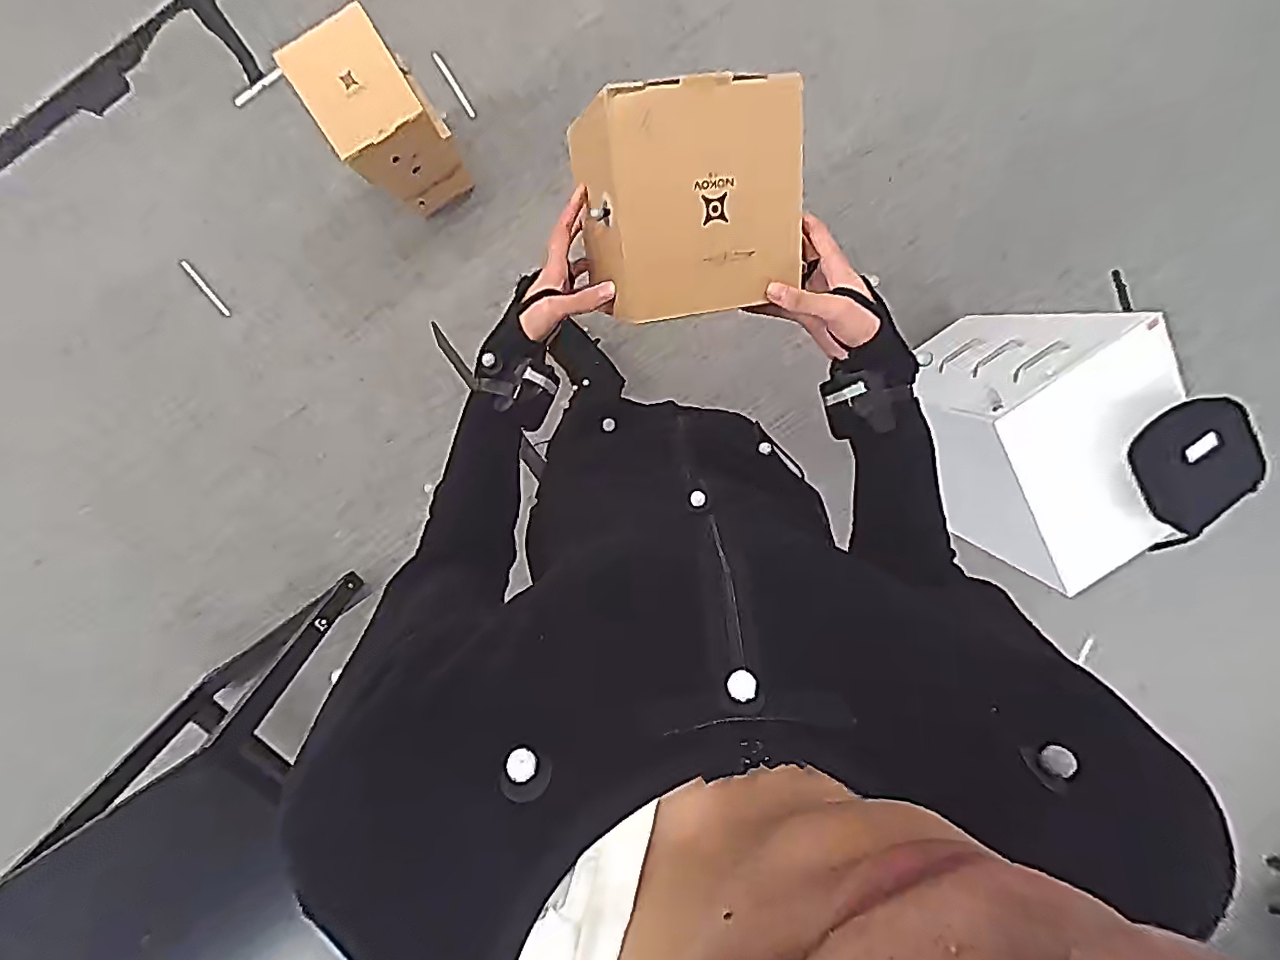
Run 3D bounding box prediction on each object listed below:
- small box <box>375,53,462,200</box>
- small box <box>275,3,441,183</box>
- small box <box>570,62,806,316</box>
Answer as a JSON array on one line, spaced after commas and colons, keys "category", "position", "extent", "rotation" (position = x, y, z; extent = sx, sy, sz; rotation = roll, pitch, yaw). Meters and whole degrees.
[{"category": "small box", "position": [-0.493, -0.710, 1.112], "extent": [0.179, 0.176, 0.168], "rotation": [-34, 108, 1]}, {"category": "small box", "position": [-0.482, -0.666, 0.956], "extent": [0.168, 0.176, 0.179], "rotation": [-32, 108, 1]}, {"category": "small box", "position": [0.037, -0.260, 0.509], "extent": [0.168, 0.176, 0.179], "rotation": [-12, 115, -13]}]
